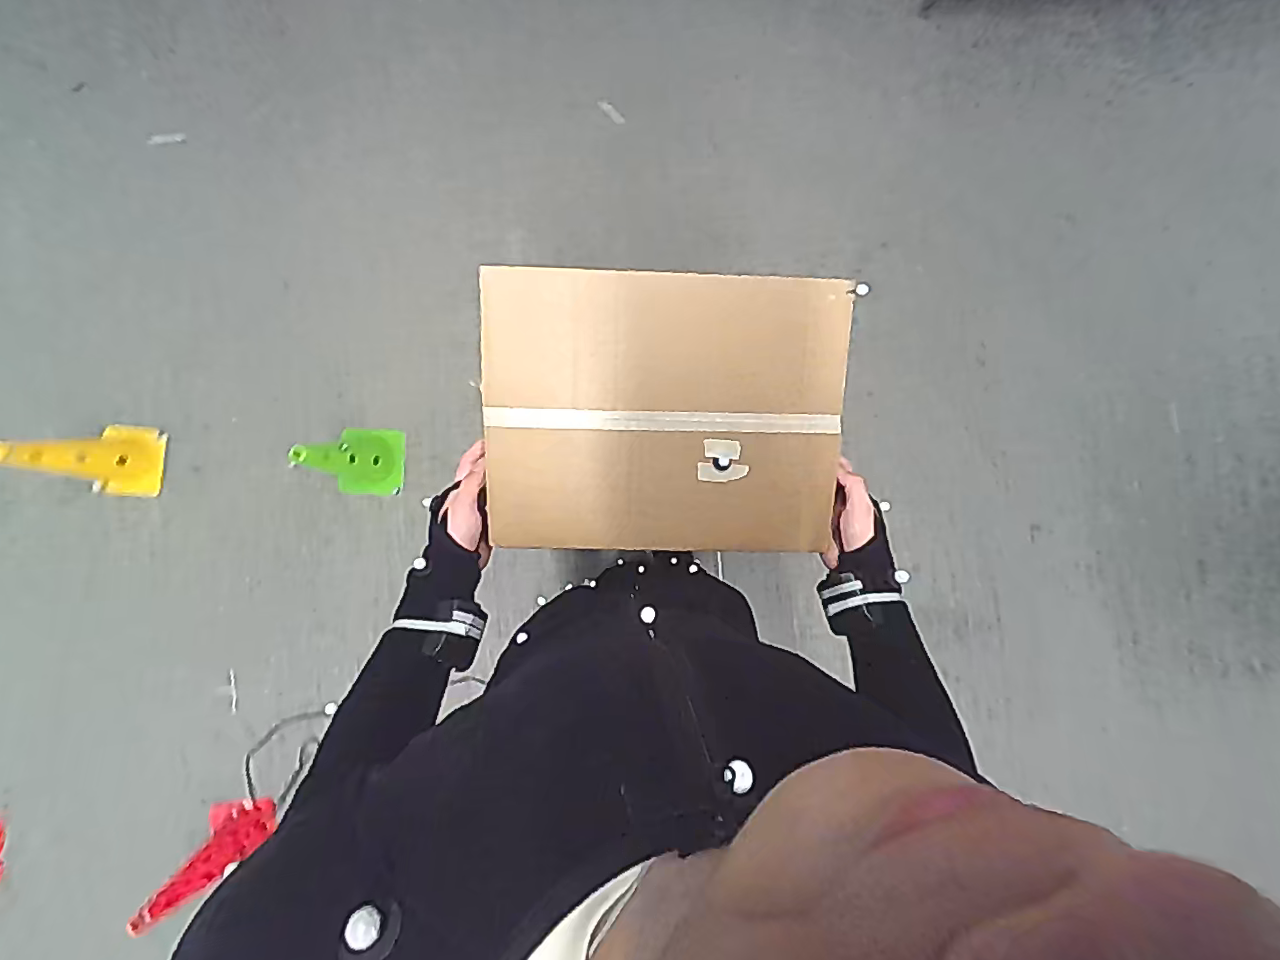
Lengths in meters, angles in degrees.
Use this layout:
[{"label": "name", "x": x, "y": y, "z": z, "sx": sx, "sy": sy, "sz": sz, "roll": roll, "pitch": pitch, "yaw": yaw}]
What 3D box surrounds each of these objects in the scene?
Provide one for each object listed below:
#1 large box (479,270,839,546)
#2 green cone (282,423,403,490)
[{"label": "large box", "x": 0.015, "y": -0.106, "z": 0.765, "sx": 0.408, "sy": 0.320, "sz": 0.320, "roll": -1, "pitch": 103, "yaw": -4}, {"label": "green cone", "x": -0.833, "y": -0.076, "z": 1.482, "sx": 0.202, "sy": 0.368, "sz": 0.200, "roll": 2, "pitch": 89, "yaw": 2}]
